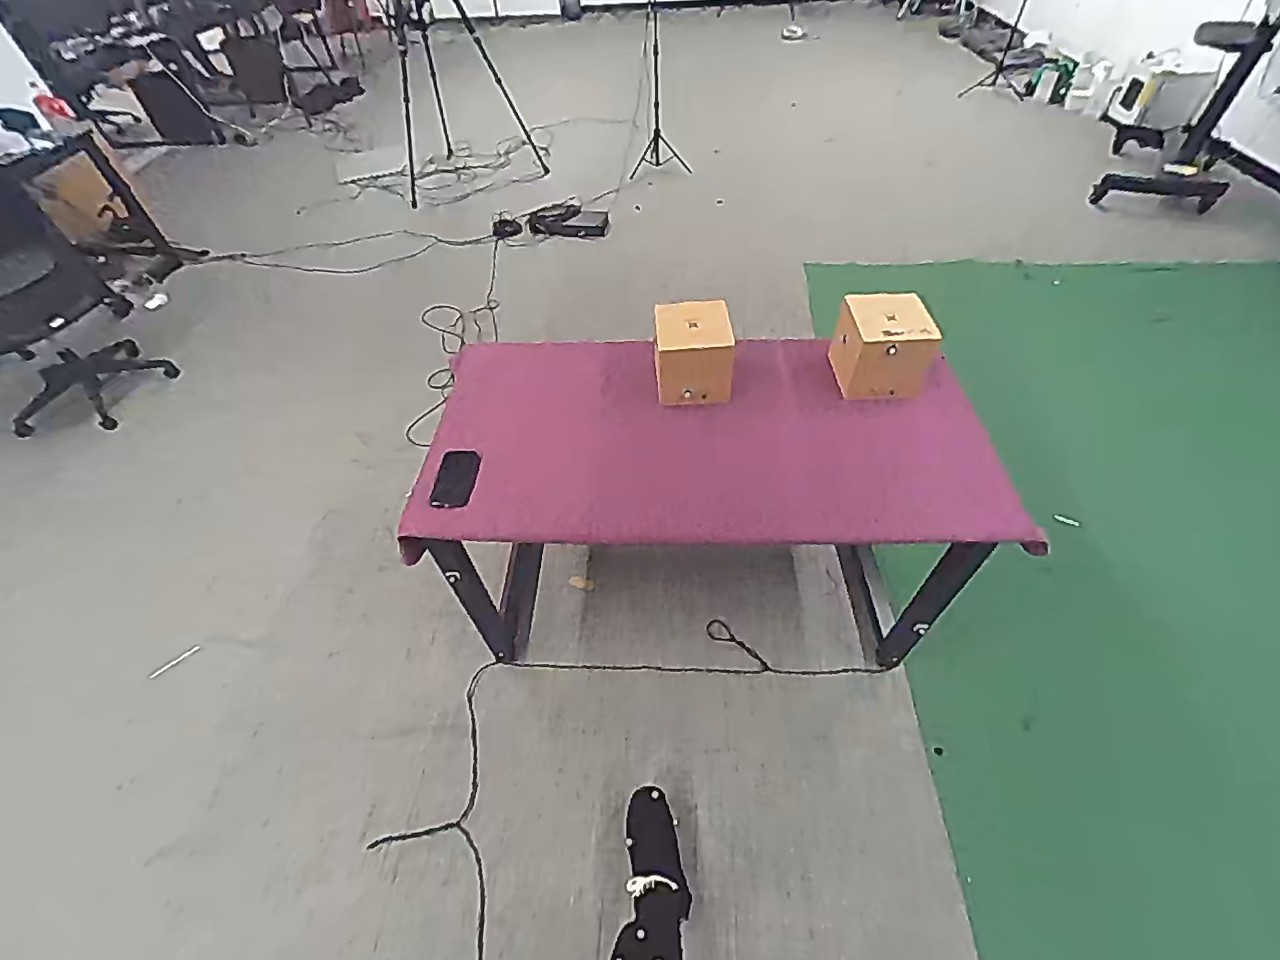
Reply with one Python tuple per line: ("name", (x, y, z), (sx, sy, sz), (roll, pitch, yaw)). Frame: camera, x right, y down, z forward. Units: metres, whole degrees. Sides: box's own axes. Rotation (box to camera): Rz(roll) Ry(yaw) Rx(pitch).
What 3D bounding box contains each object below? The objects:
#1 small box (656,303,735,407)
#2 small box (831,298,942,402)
("small box", (0.122, -0.289, 1.257), (0.168, 0.176, 0.179), (-3, 50, 1))
("small box", (0.552, -0.298, 1.242), (0.168, 0.176, 0.179), (-2, 49, 2))
